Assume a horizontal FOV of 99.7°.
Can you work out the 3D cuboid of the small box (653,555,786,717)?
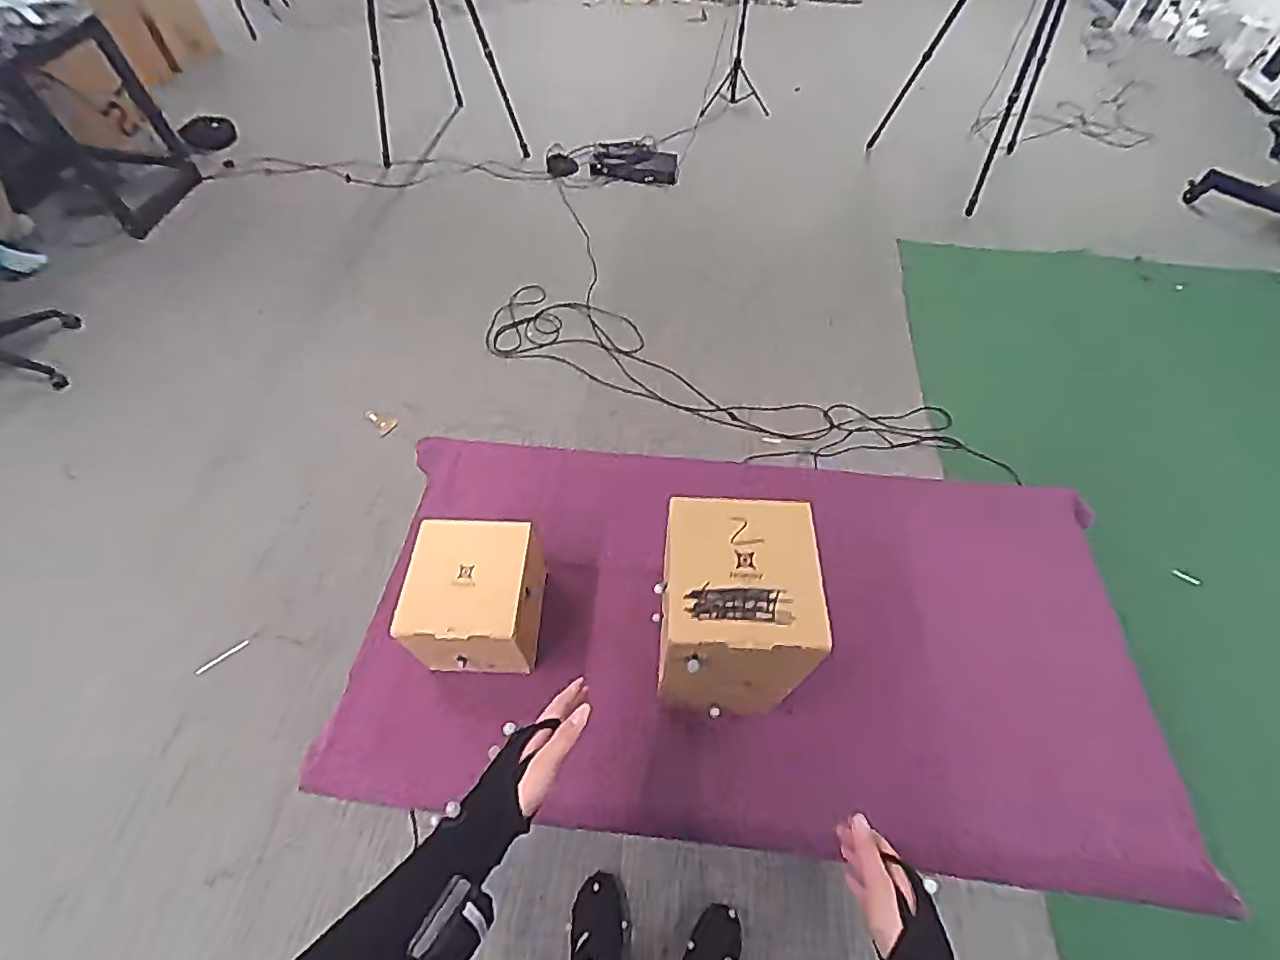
[{"bbox_3d":[0.108,0.230,0.788,0.168,0.176,0.179,4,56,3],"label":"small box"}]

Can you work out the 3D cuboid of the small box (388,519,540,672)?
[{"bbox_3d":[-0.251,0.178,0.822,0.168,0.176,0.179,2,57,0],"label":"small box"}]
